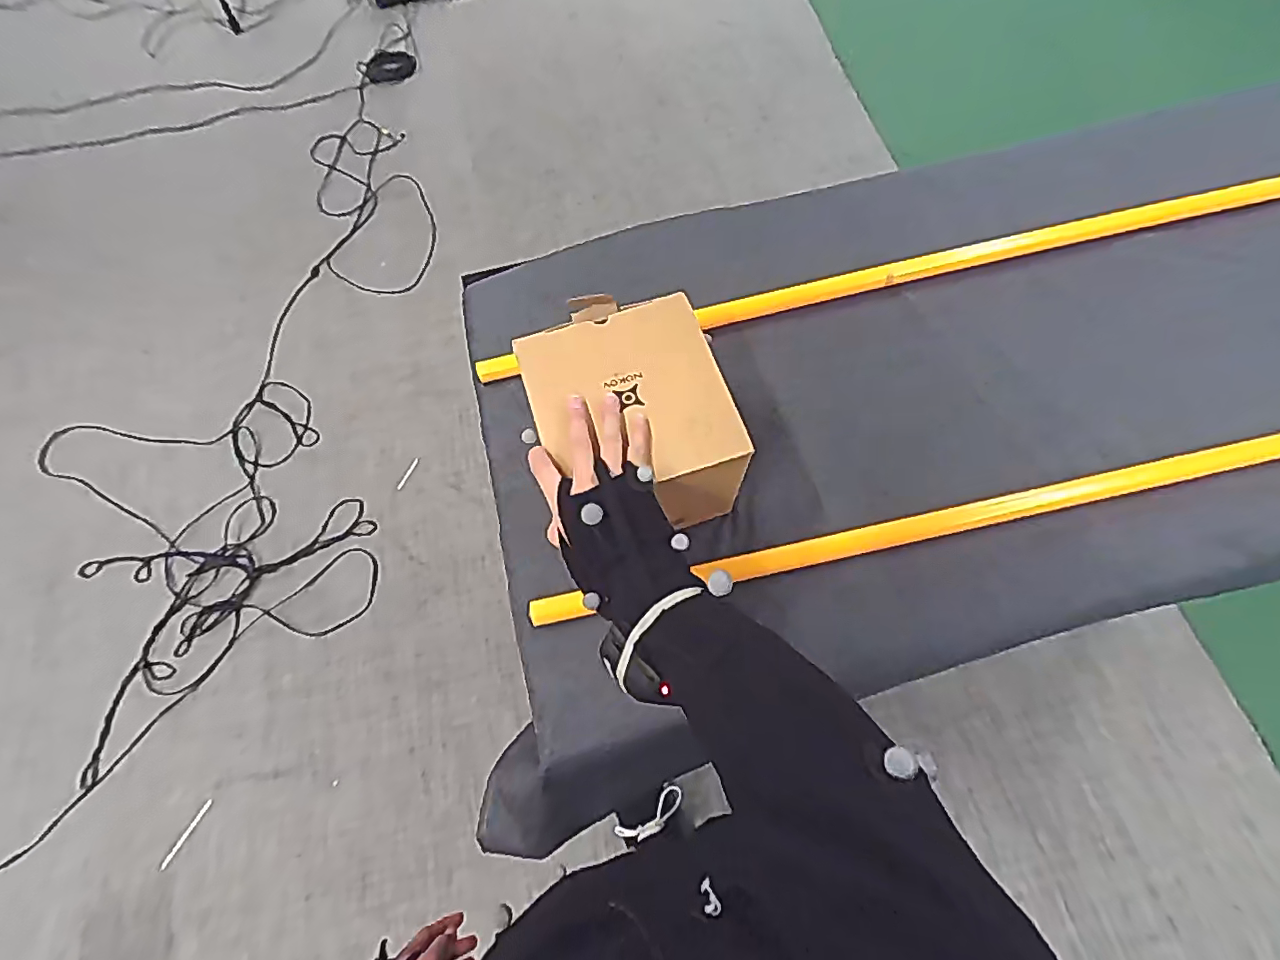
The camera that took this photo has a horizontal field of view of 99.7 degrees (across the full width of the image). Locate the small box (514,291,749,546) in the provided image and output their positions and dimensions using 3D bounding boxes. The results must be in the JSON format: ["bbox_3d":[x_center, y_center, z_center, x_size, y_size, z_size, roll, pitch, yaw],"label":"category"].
[{"bbox_3d":[-0.007,-0.046,0.537,0.168,0.176,0.179,-18,68,-4],"label":"small box"}]
